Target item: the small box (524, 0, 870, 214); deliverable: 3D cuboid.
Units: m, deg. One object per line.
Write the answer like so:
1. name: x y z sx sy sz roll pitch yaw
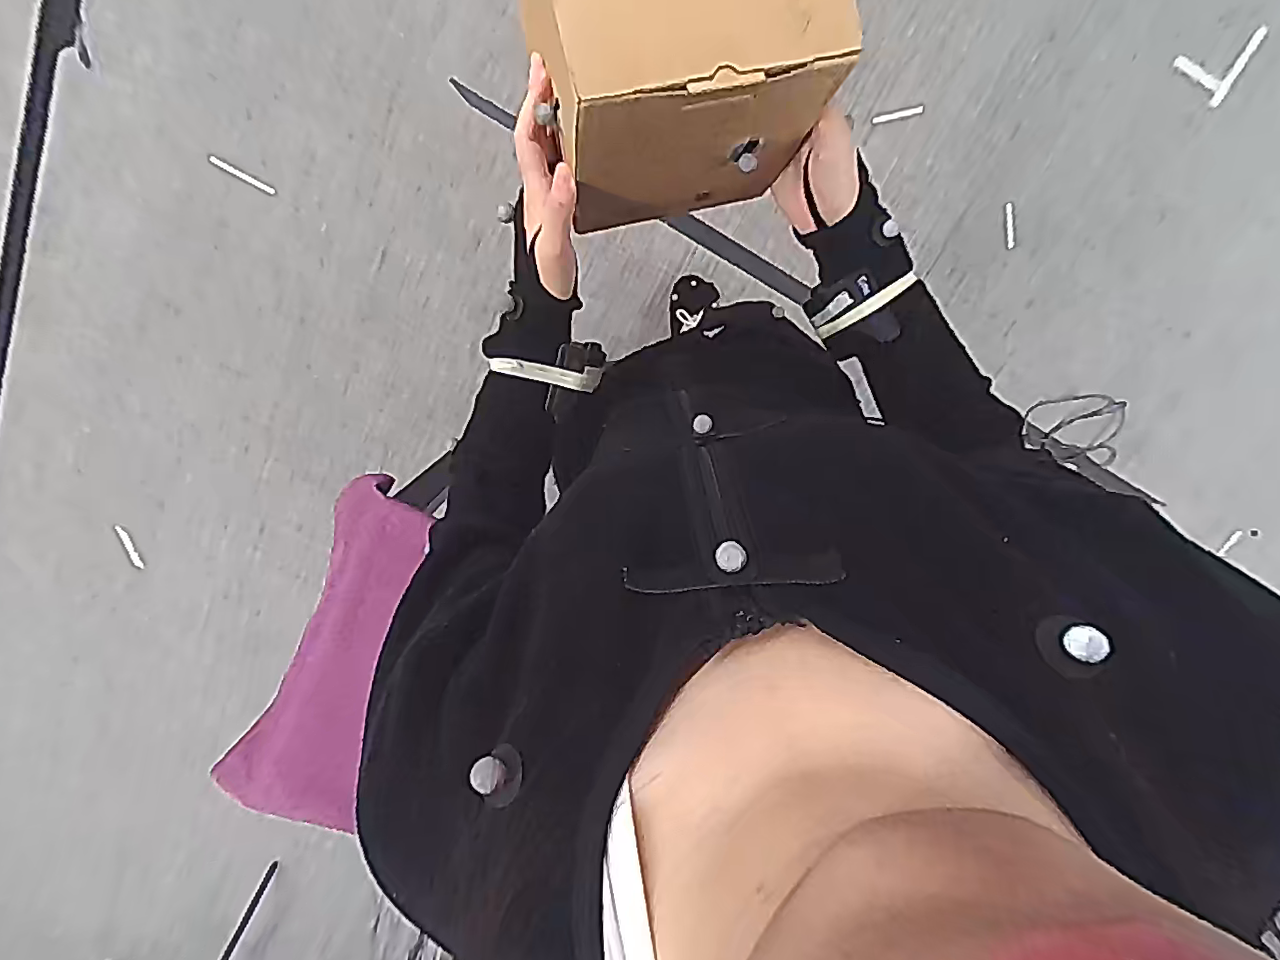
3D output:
1. small box: 0.018 -0.301 0.359 0.168 0.176 0.179 -15 94 -7
